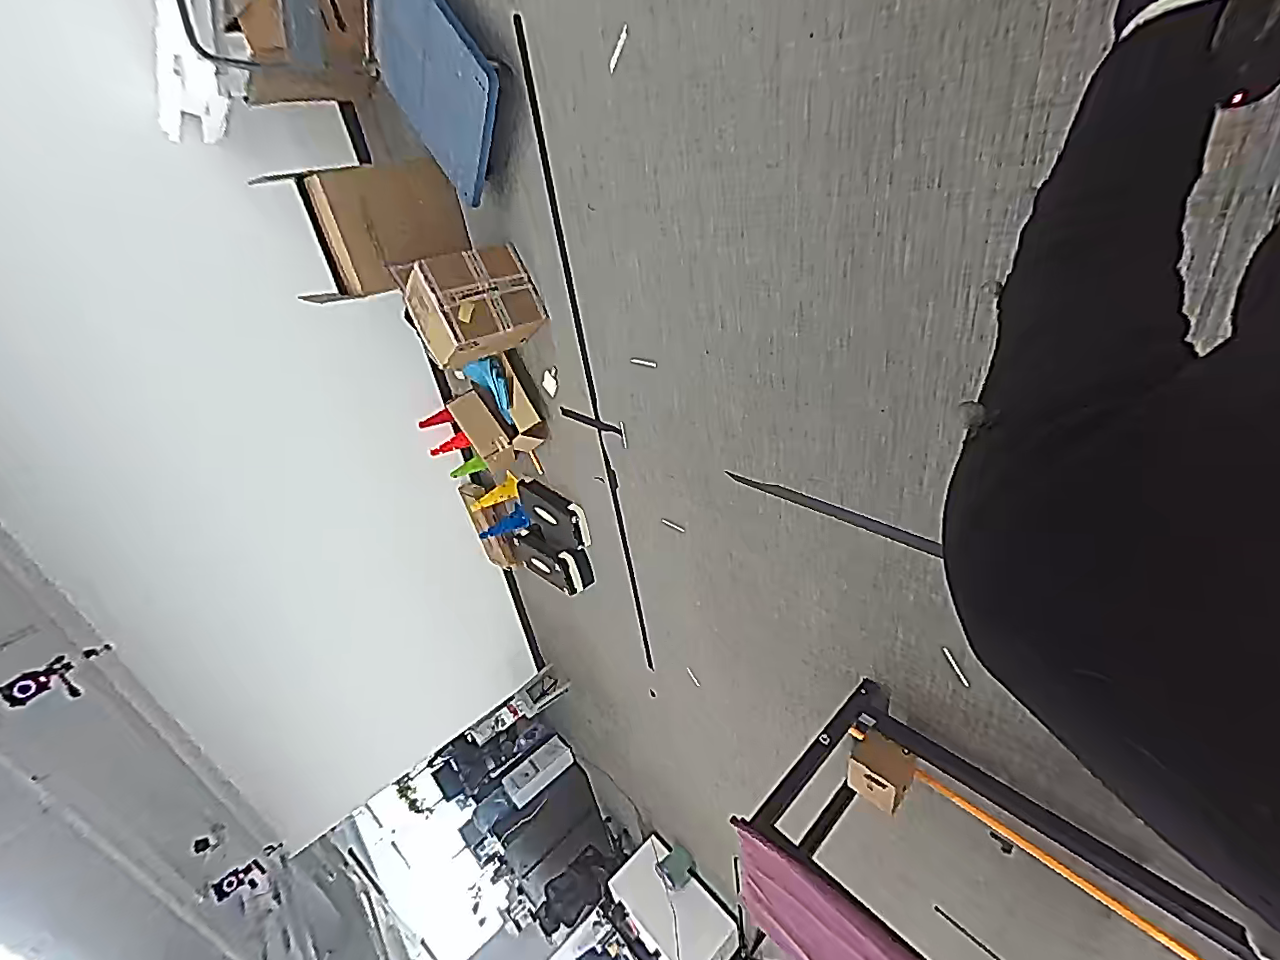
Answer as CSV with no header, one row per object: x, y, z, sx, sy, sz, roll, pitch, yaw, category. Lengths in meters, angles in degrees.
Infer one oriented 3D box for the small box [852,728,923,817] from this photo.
0.858,1.005,1.871,0.168,0.176,0.179,23,134,43,small box
